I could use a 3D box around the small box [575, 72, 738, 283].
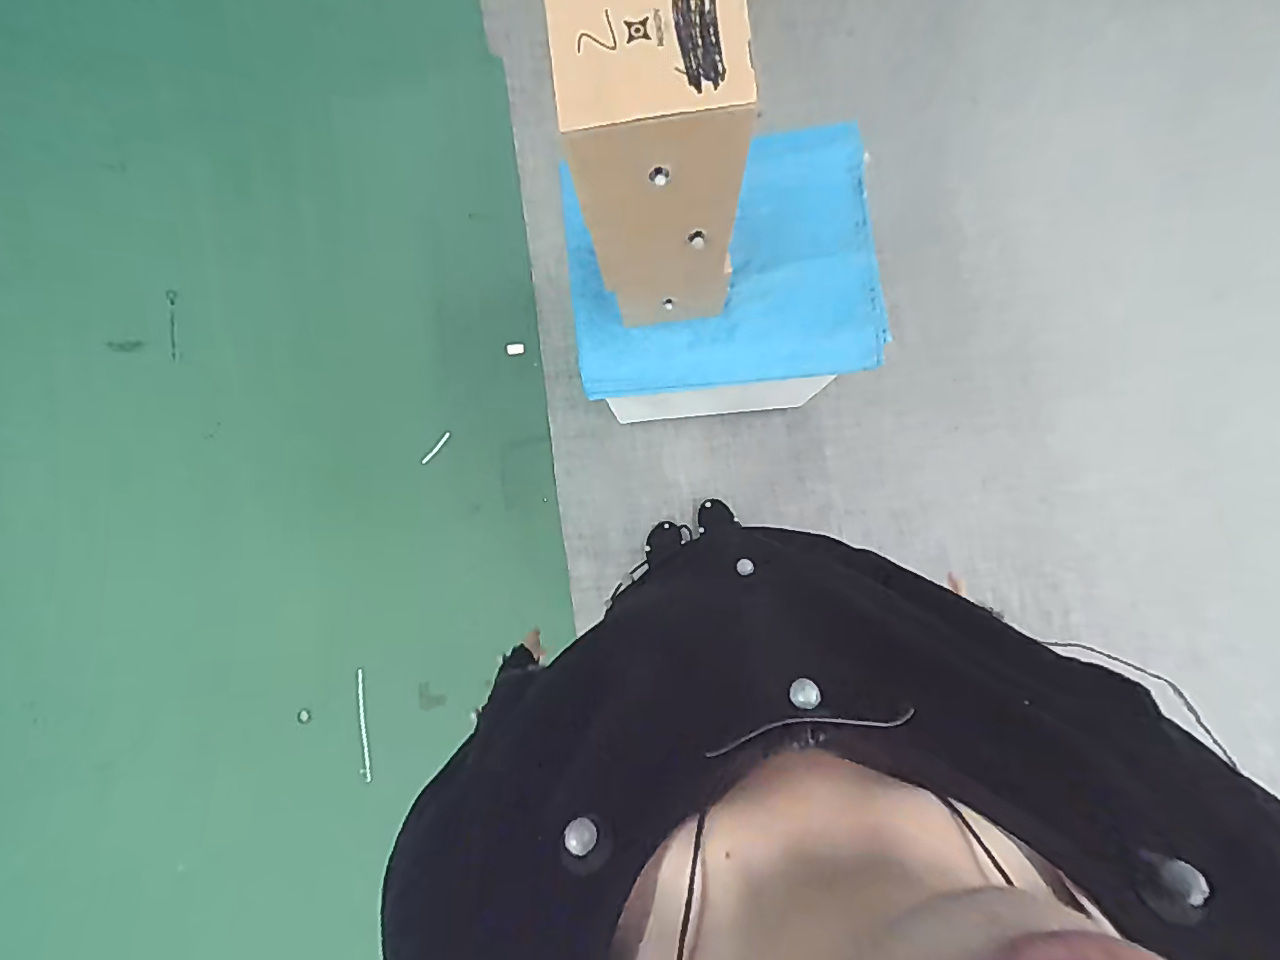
[{"bbox_3d":[0.022,-0.376,0.702,0.179,0.176,0.168,-7,85,3],"label":"small box"}]

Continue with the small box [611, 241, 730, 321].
[{"bbox_3d":[0.040,-0.369,0.865,0.179,0.176,0.168,-7,86,4],"label":"small box"}]
